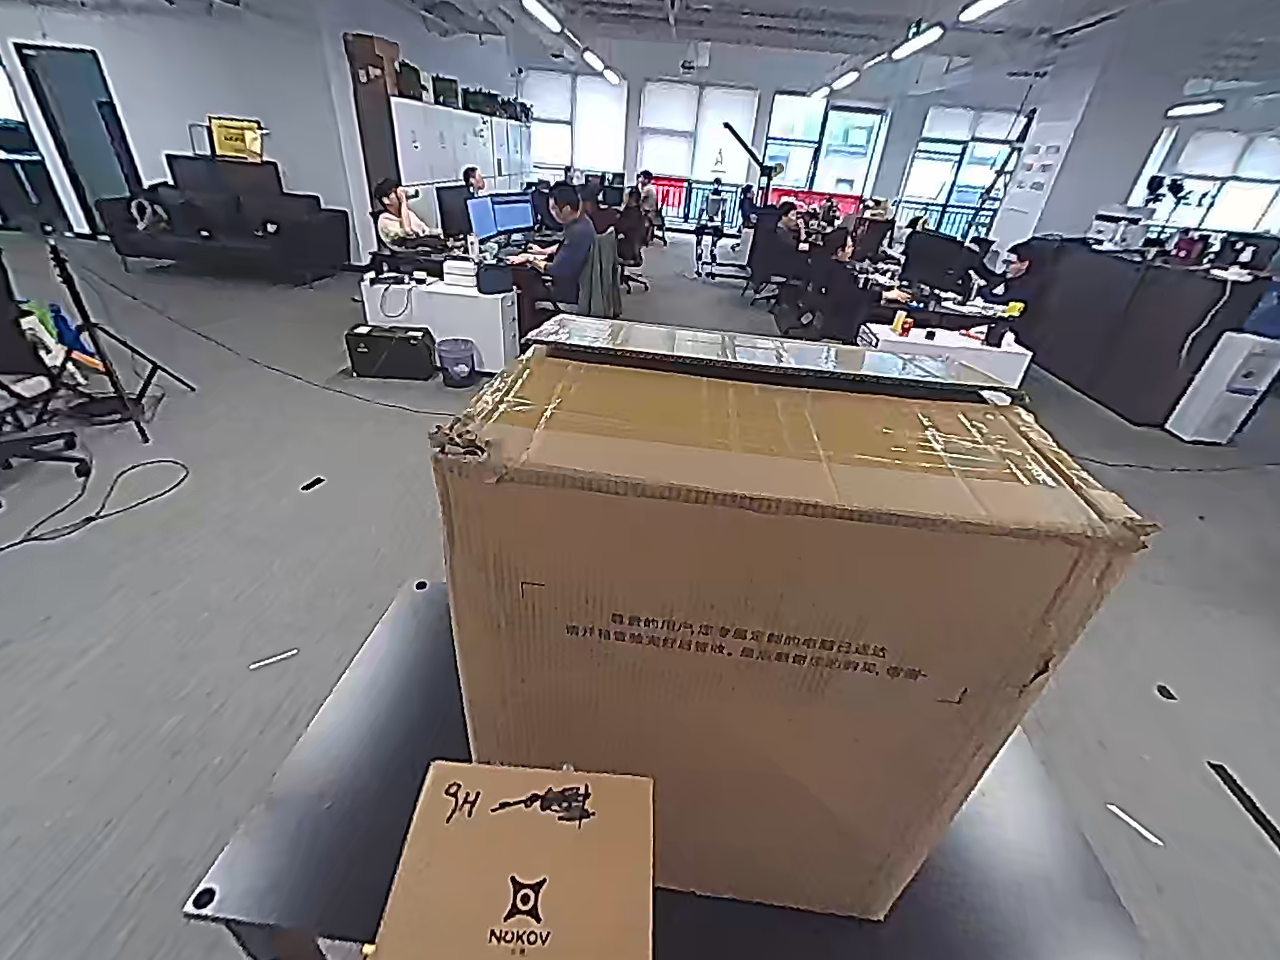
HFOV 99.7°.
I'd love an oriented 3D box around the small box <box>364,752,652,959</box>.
[{"bbox_3d":[-0.084,0.321,0.383,0.168,0.176,0.179,6,42,-4],"label":"small box"}]
